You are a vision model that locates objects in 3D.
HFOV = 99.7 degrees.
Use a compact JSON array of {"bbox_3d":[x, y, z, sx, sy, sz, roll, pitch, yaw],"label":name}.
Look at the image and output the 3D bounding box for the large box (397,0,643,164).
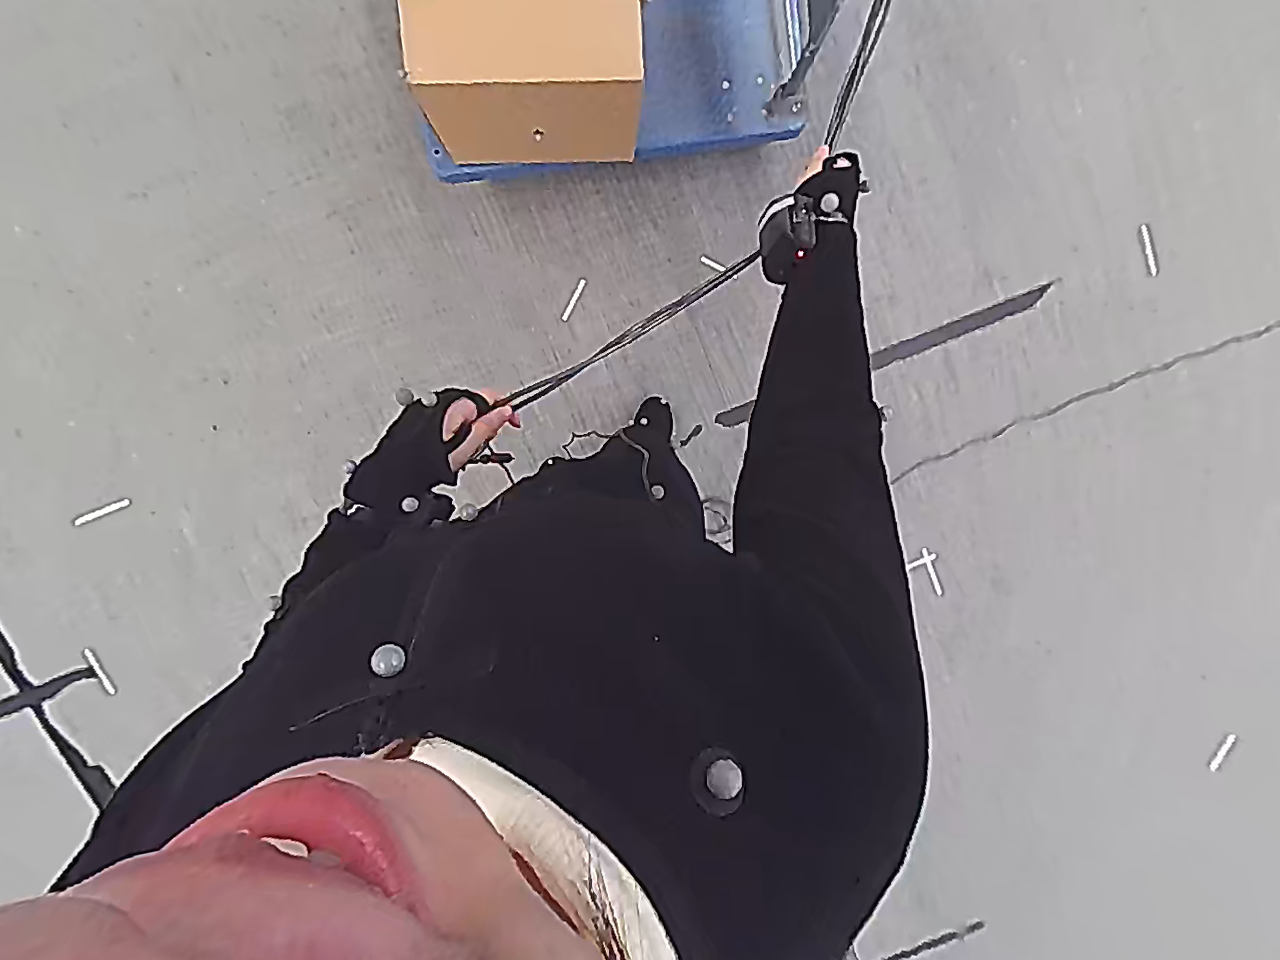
[{"bbox_3d":[-0.210,-0.841,1.040,0.408,0.320,0.320,-4,97,-3],"label":"large box"}]
